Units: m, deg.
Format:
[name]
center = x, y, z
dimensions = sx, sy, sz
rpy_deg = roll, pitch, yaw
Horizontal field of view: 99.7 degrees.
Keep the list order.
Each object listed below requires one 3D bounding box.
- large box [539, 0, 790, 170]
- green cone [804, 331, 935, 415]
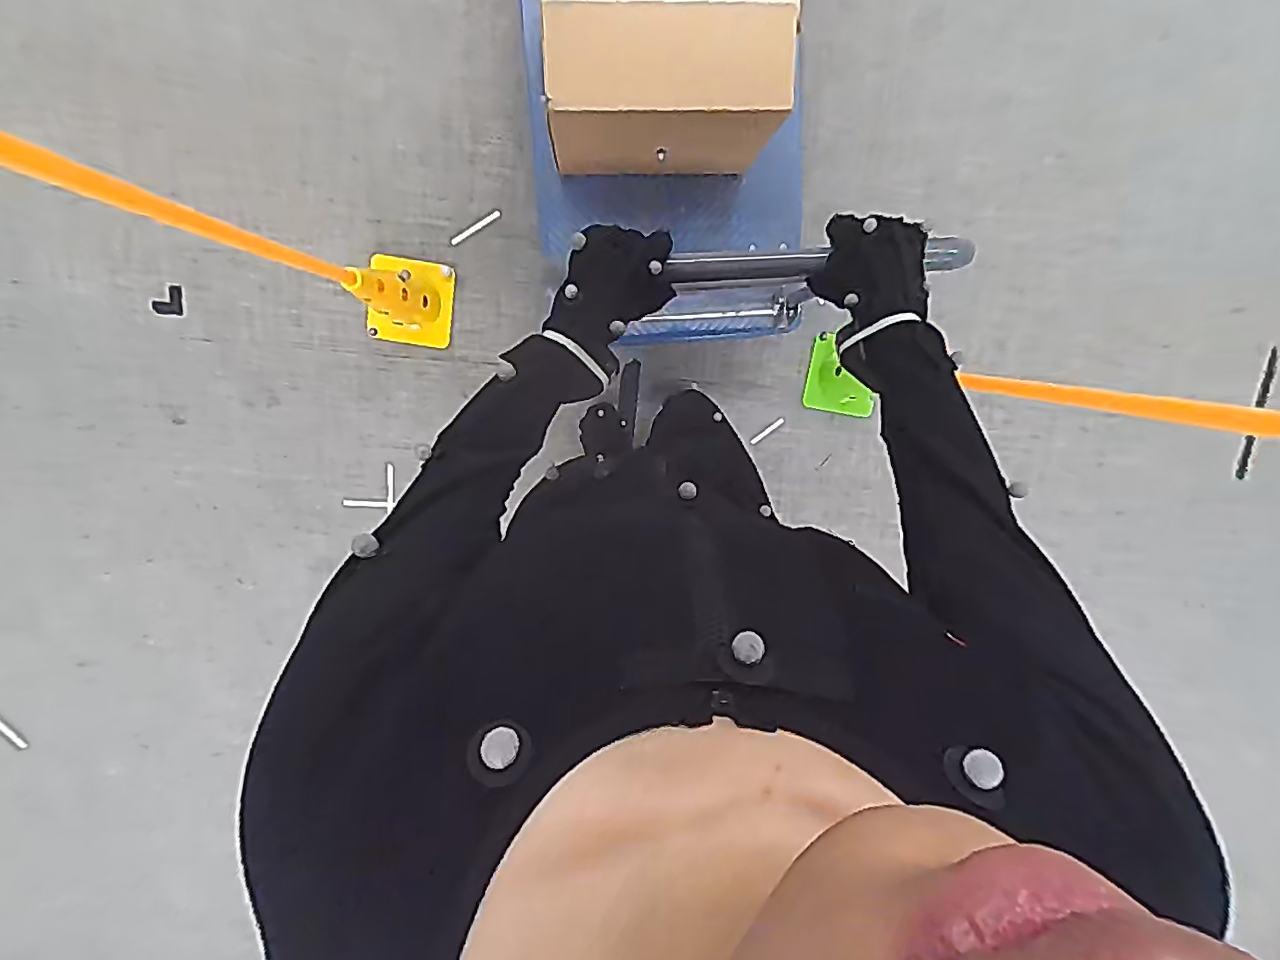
[large box]
center = 0.033, -0.784, 0.989
dimensions = 0.408, 0.320, 0.320
rpy_deg = -3, 102, -3
[green cone]
center = 0.566, -0.251, 1.285
dimensions = 0.202, 0.368, 0.200
rpy_deg = 8, 101, -7
